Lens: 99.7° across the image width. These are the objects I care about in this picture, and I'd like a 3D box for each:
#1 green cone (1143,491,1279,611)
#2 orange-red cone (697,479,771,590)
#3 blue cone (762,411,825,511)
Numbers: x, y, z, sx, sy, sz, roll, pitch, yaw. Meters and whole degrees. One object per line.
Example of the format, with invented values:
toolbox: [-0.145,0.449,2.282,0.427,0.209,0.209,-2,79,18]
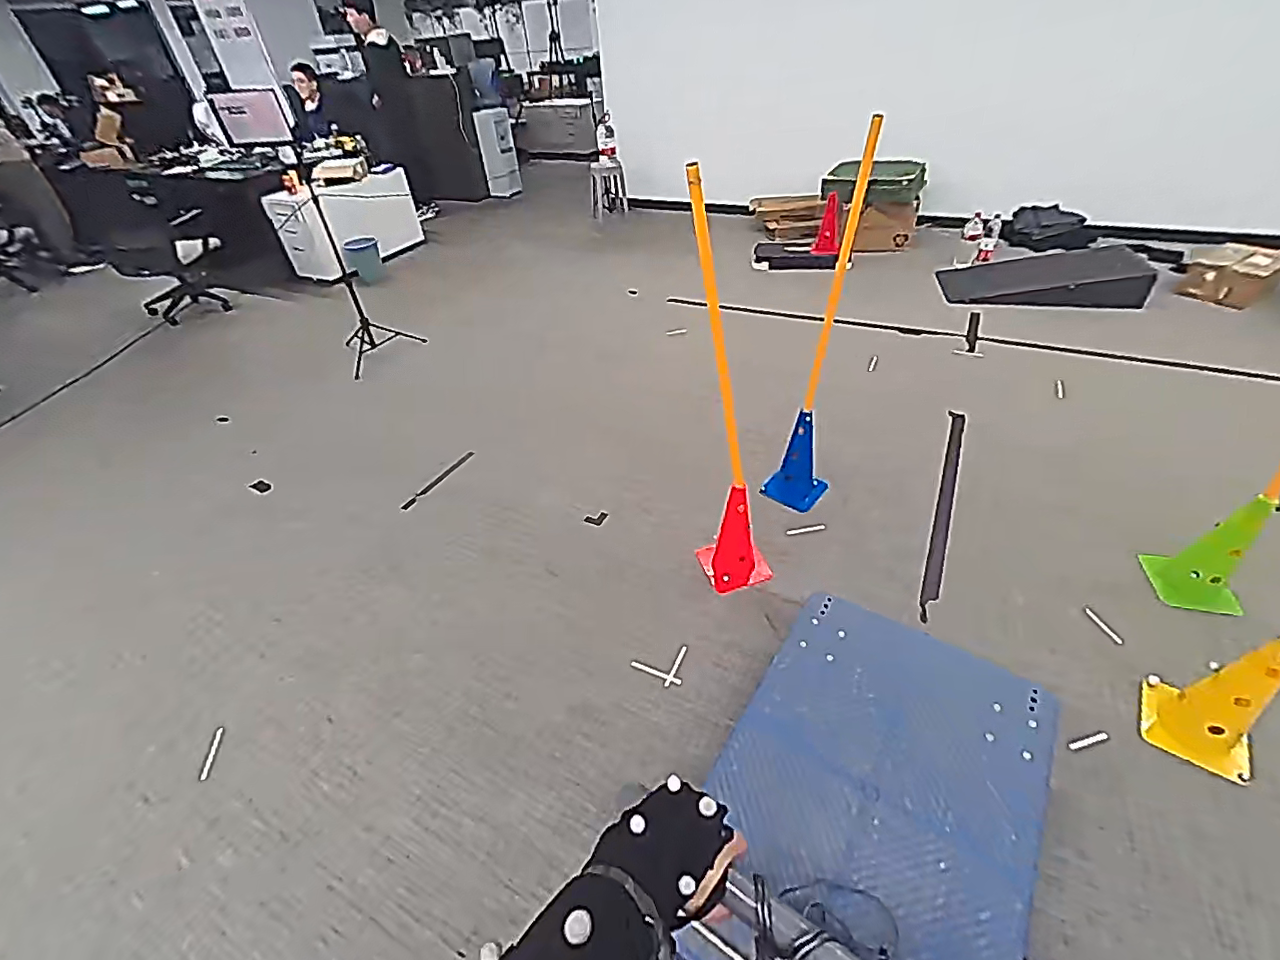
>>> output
green cone: [1.637,0.170,1.501,0.200,0.368,0.202,6,43,13]
orange-red cone: [0.300,0.141,1.675,0.199,0.360,0.198,-13,42,-12]
blue cone: [0.571,-0.089,1.940,0.193,0.380,0.192,28,51,33]
